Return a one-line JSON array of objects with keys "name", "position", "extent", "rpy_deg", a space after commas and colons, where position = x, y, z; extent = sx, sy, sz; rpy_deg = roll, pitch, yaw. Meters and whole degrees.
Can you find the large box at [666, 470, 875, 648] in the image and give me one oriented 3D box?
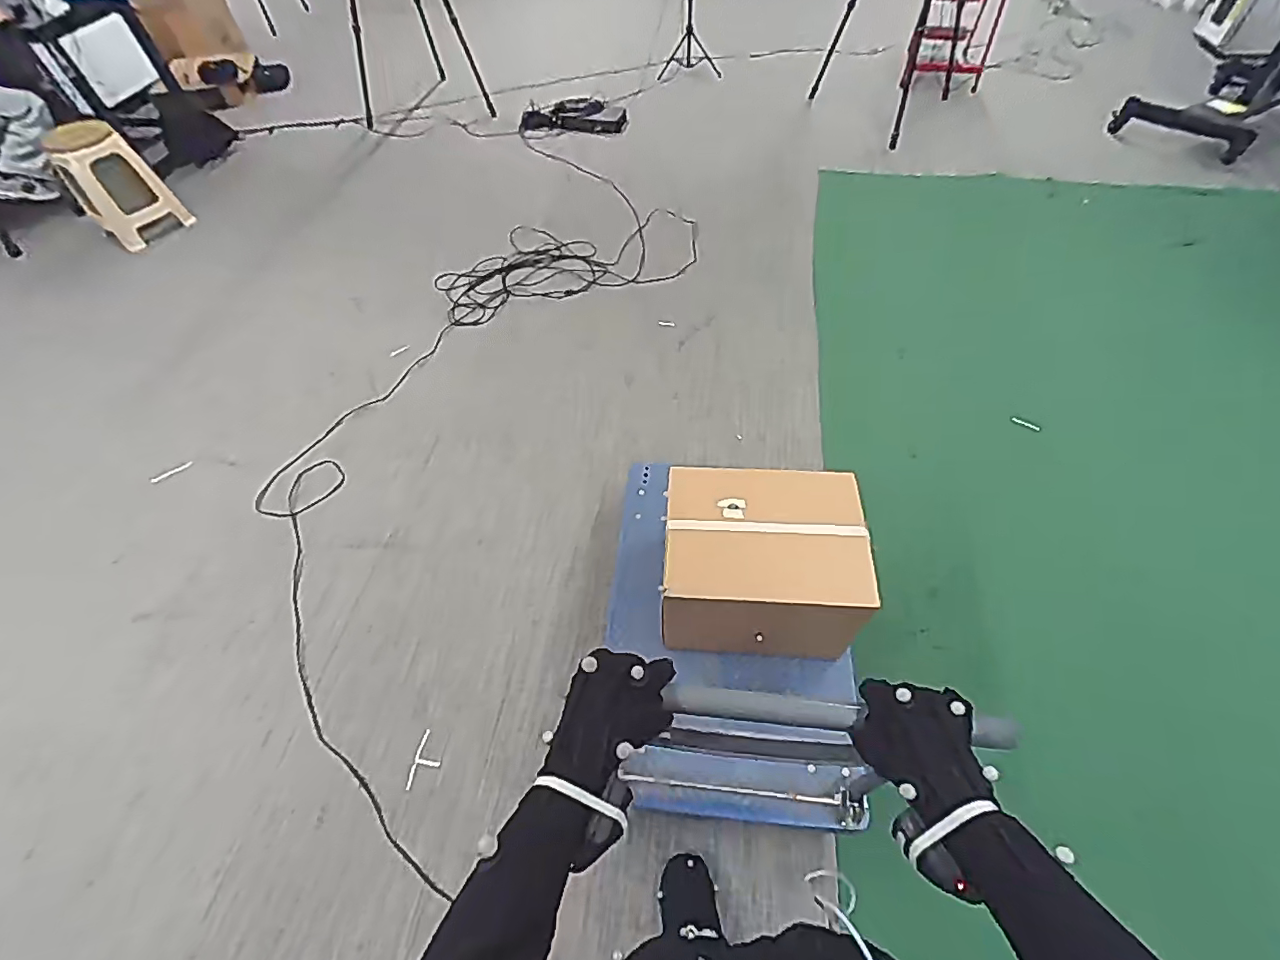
[{"name": "large box", "position": [0.267, 0.188, 1.243], "extent": [0.408, 0.320, 0.320], "rpy_deg": [1, 54, 5]}]
